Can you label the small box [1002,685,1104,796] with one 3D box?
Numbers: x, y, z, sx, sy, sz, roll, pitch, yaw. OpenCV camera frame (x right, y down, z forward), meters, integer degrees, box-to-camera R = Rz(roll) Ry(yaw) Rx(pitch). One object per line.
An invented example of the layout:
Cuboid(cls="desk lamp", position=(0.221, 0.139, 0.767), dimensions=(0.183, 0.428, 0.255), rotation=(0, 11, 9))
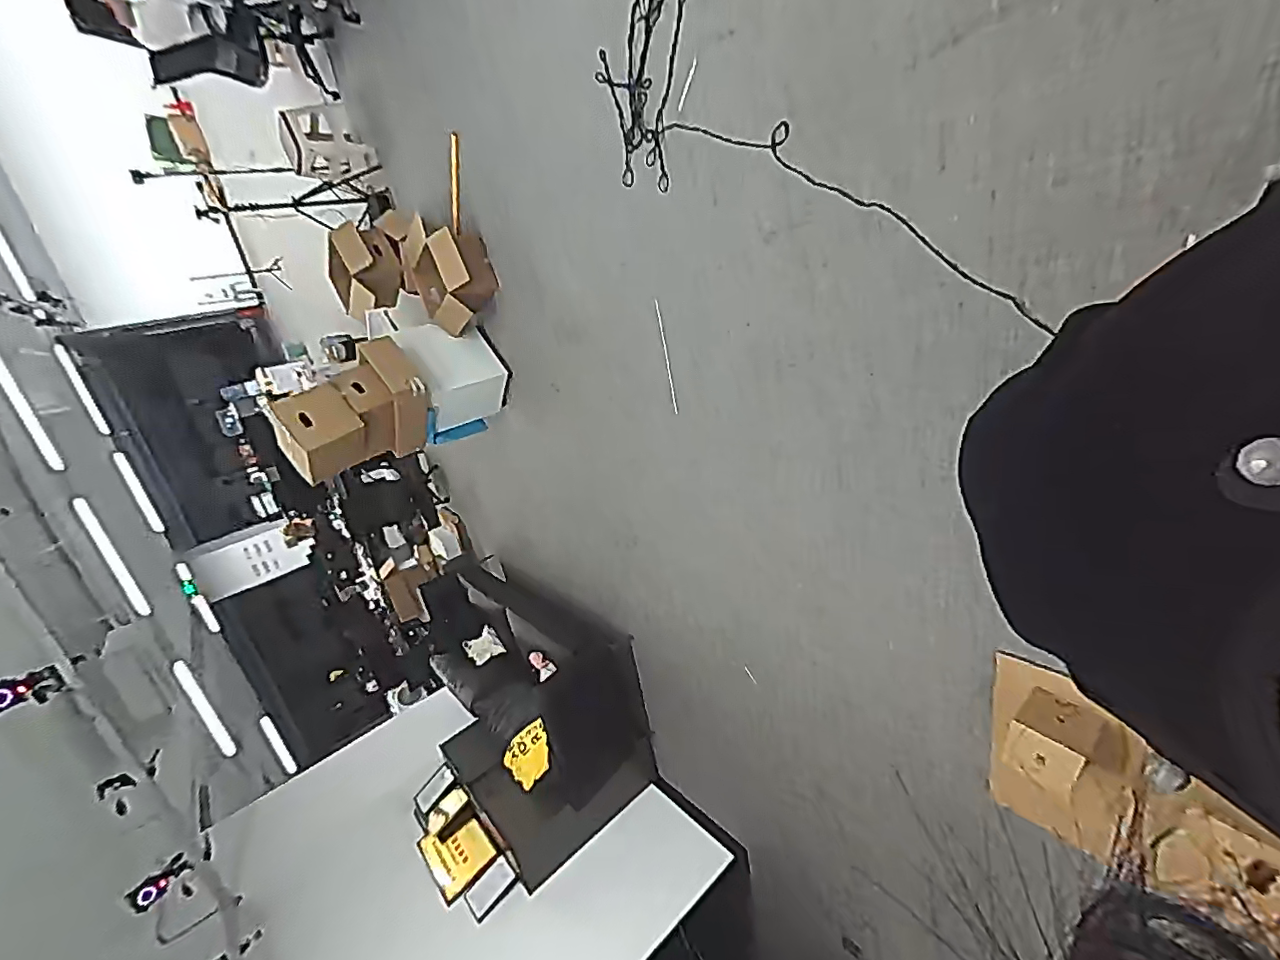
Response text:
Cuboid(cls="small box", position=(1.129, 0.700, 1.477), dimensions=(0.168, 0.176, 0.179), rotation=(24, 130, 46))
